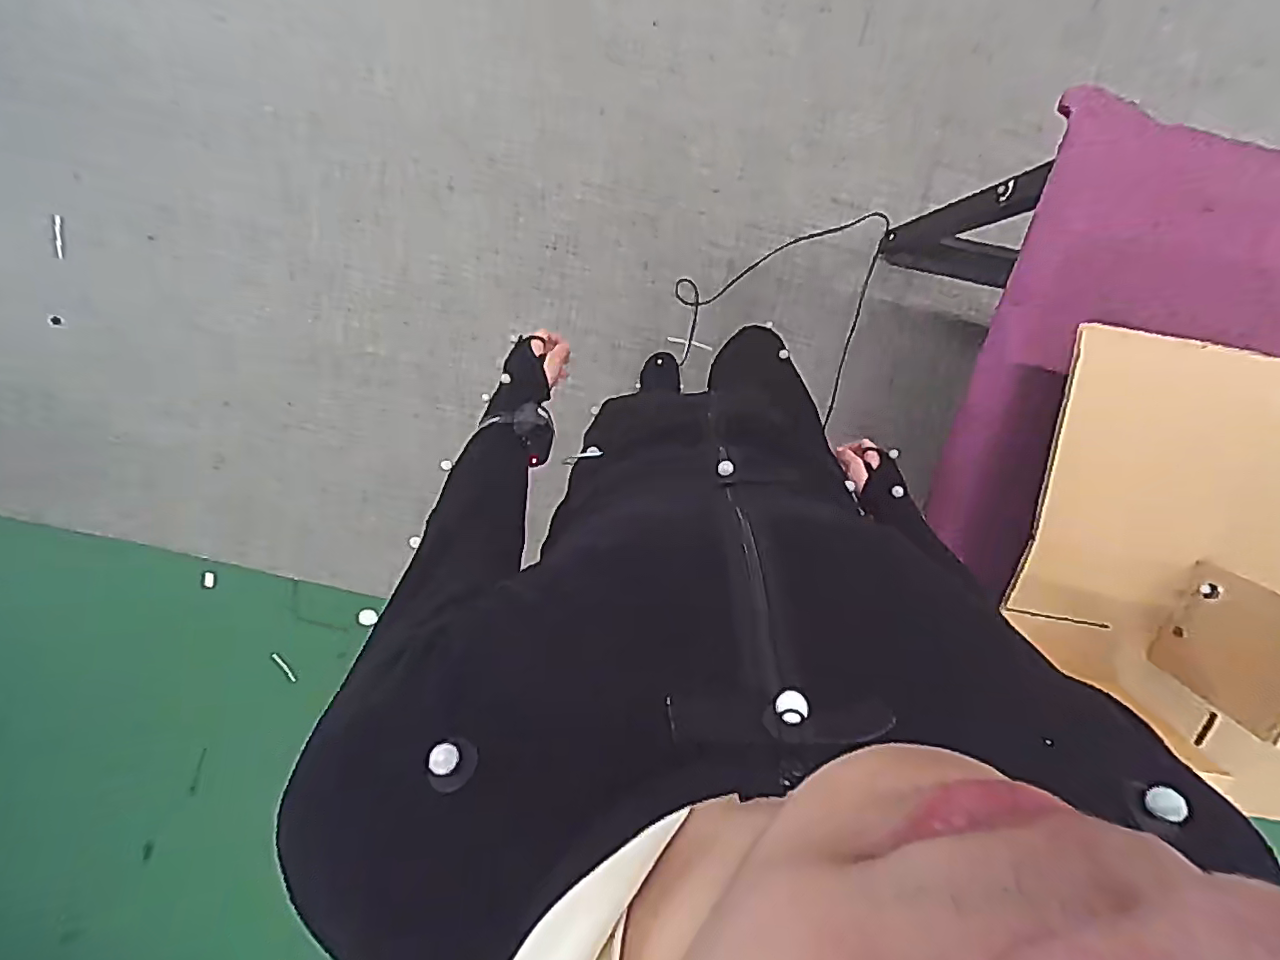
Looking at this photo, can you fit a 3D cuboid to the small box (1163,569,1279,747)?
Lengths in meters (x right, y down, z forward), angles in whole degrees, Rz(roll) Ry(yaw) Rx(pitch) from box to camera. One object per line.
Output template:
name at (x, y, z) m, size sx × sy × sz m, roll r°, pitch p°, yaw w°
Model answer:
small box at (0.834, 0.227, 0.677) m, size 0.179 × 0.176 × 0.168 m, roll 9°, pitch 107°, yaw -2°

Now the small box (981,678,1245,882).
small box at (0.618, 0.395, 0.734) m, size 0.179 × 0.176 × 0.168 m, roll 10°, pitch 107°, yaw -1°
